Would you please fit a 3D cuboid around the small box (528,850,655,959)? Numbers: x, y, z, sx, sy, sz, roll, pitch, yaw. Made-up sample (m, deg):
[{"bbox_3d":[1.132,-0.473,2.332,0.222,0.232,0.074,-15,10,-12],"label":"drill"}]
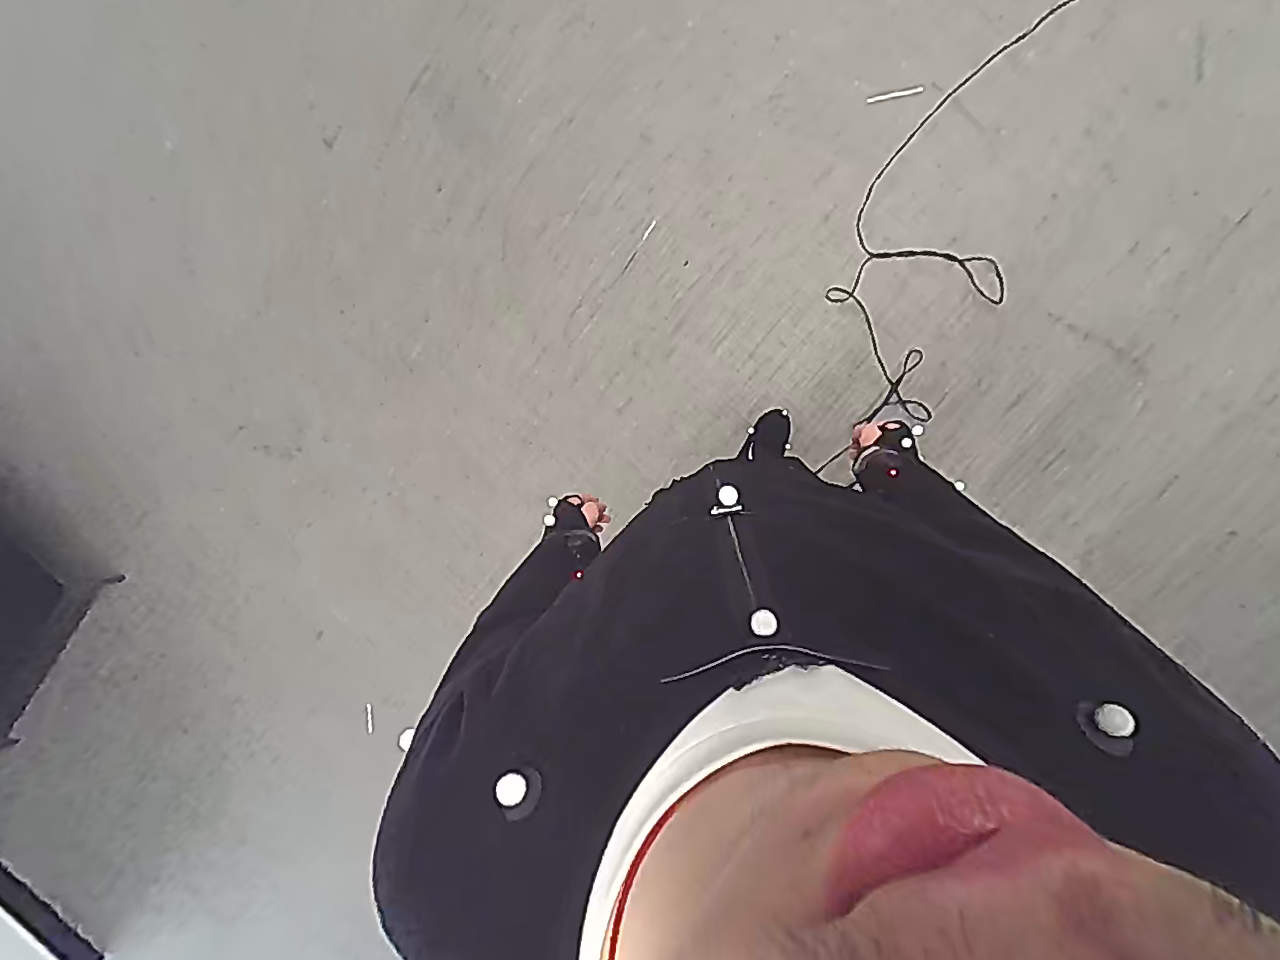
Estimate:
[{"bbox_3d":[-0.086,0.838,0.991,0.168,0.176,0.179,39,99,2],"label":"small box"}]
